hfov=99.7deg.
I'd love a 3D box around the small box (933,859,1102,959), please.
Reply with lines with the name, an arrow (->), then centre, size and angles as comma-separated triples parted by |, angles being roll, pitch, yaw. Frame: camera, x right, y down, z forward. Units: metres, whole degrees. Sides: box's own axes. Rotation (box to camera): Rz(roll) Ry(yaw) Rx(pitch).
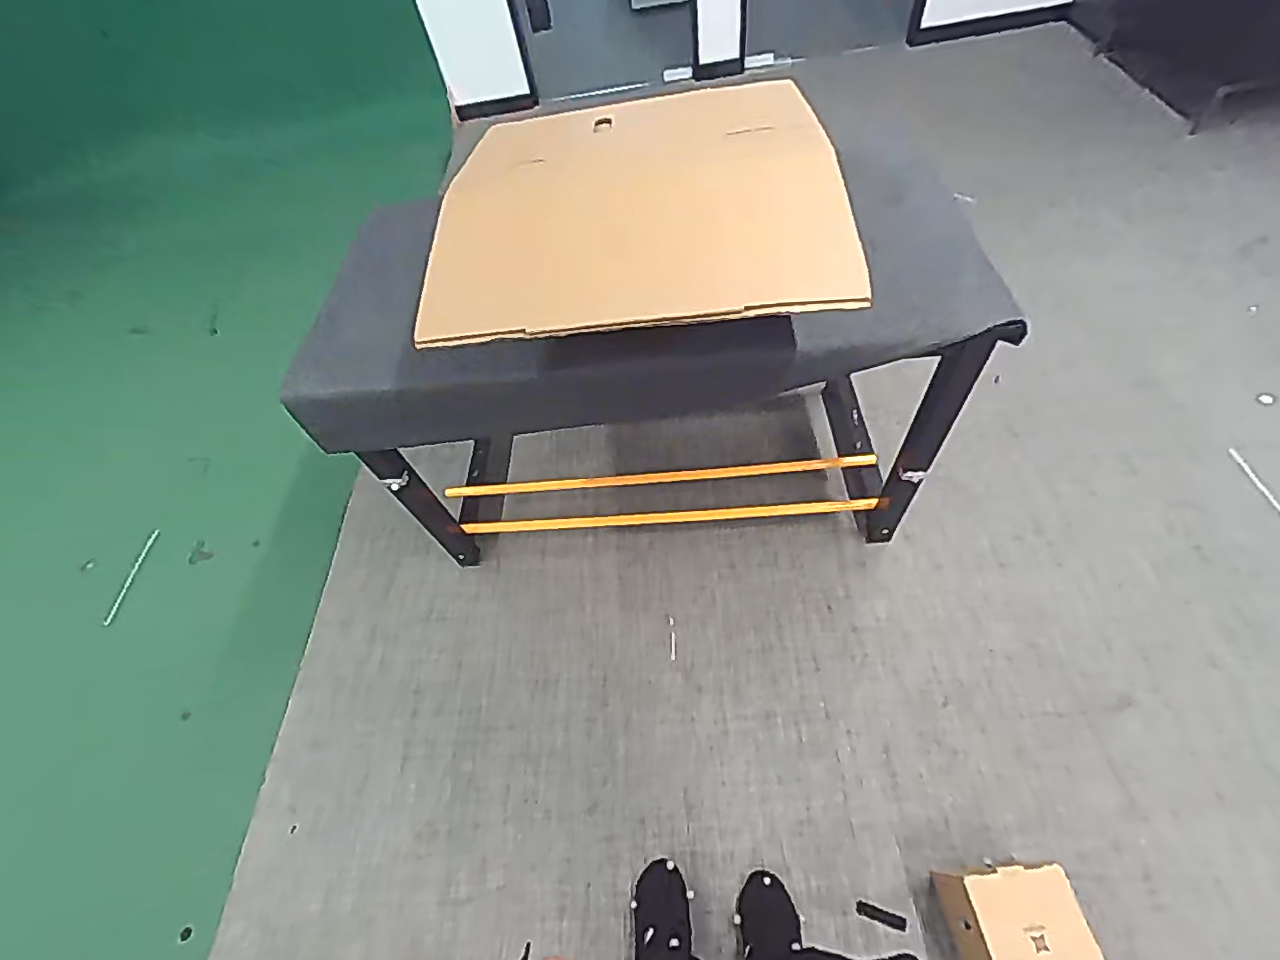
small box -> 0.636, 0.764, 0.923 | 0.168, 0.176, 0.179 | -9, 55, 2
